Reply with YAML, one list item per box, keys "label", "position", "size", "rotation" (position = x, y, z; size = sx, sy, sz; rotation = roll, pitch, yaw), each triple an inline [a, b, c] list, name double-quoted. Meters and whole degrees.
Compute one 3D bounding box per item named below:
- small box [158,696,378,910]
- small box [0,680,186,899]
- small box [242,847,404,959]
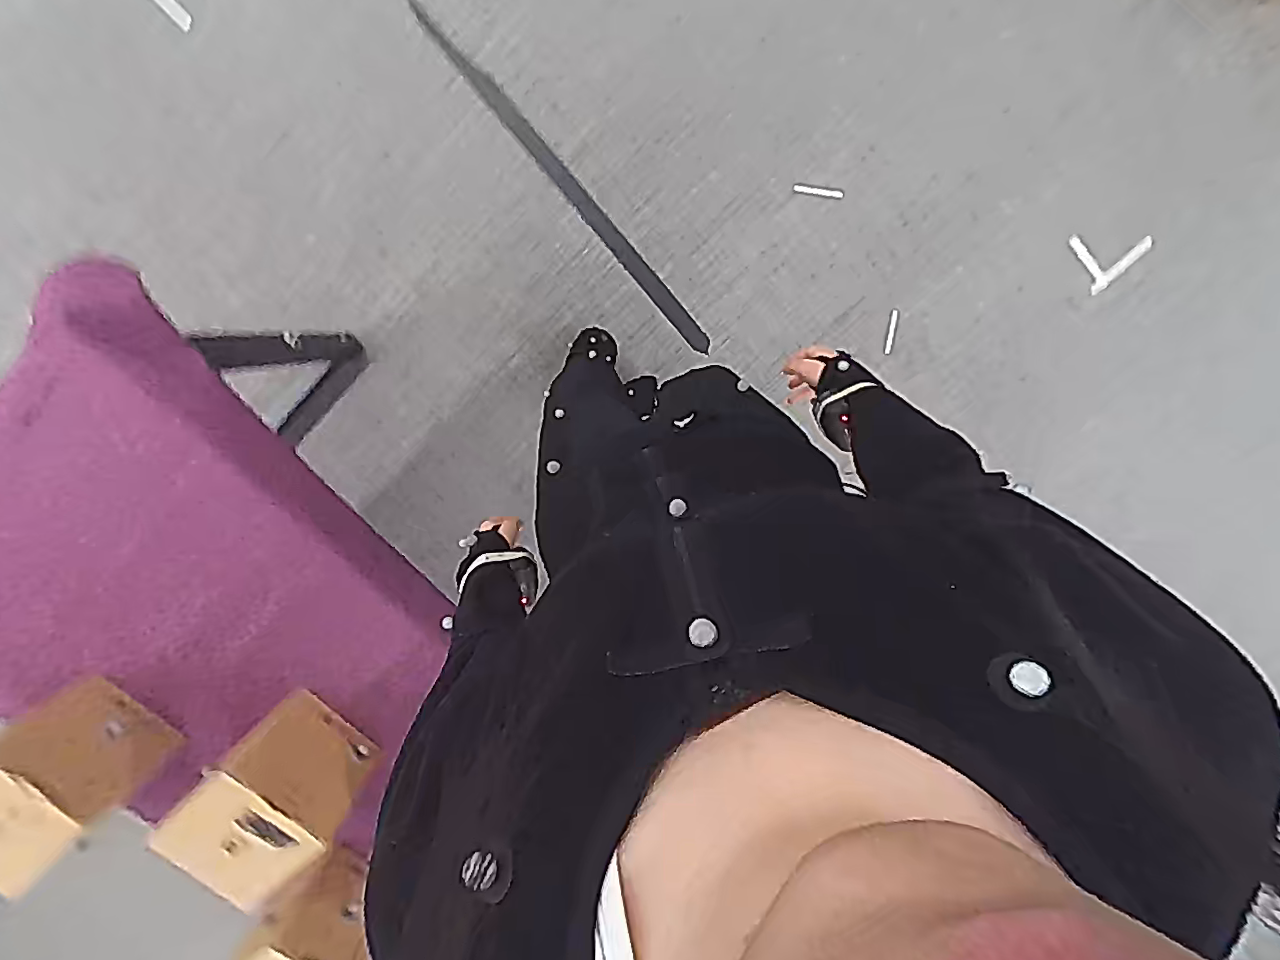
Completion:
- label: "small box"
  position: [-0.518, 0.456, 0.787]
  size: [0.179, 0.176, 0.168]
  rotation: [-42, 101, 11]
- label: "small box"
  position: [-0.823, 0.433, 0.778]
  size: [0.179, 0.176, 0.168]
  rotation: [-43, 102, 9]
- label: "small box"
  position: [-0.506, 0.740, 0.859]
  size: [0.179, 0.176, 0.168]
  rotation: [-43, 100, 8]
